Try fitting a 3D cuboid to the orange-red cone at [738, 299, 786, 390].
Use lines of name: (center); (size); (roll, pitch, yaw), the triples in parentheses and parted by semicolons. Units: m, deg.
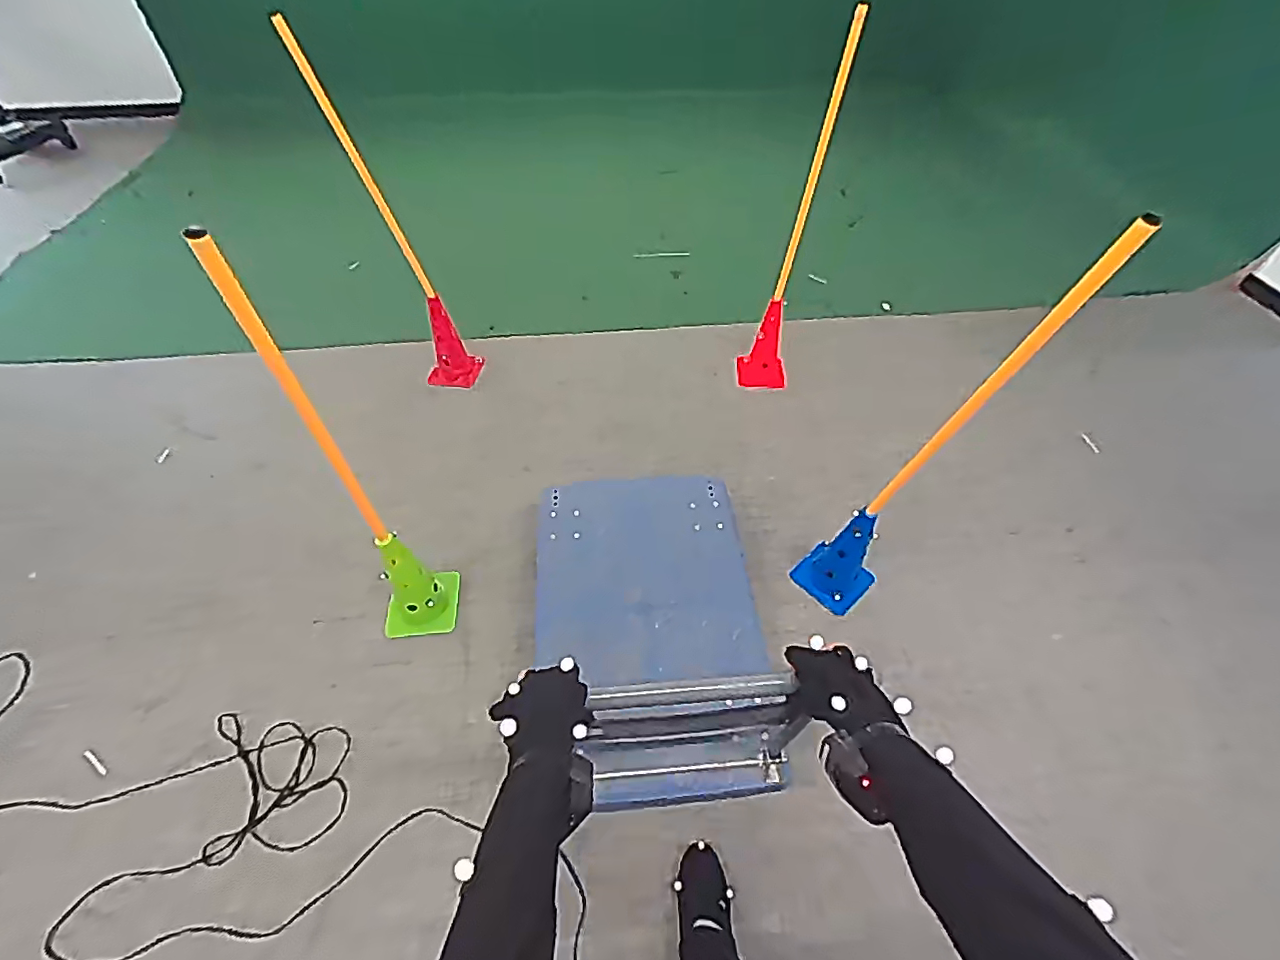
orange-red cone: (0.516, -0.559, 2.171); (0.198, 0.360, 0.199); (4, 51, 4)
